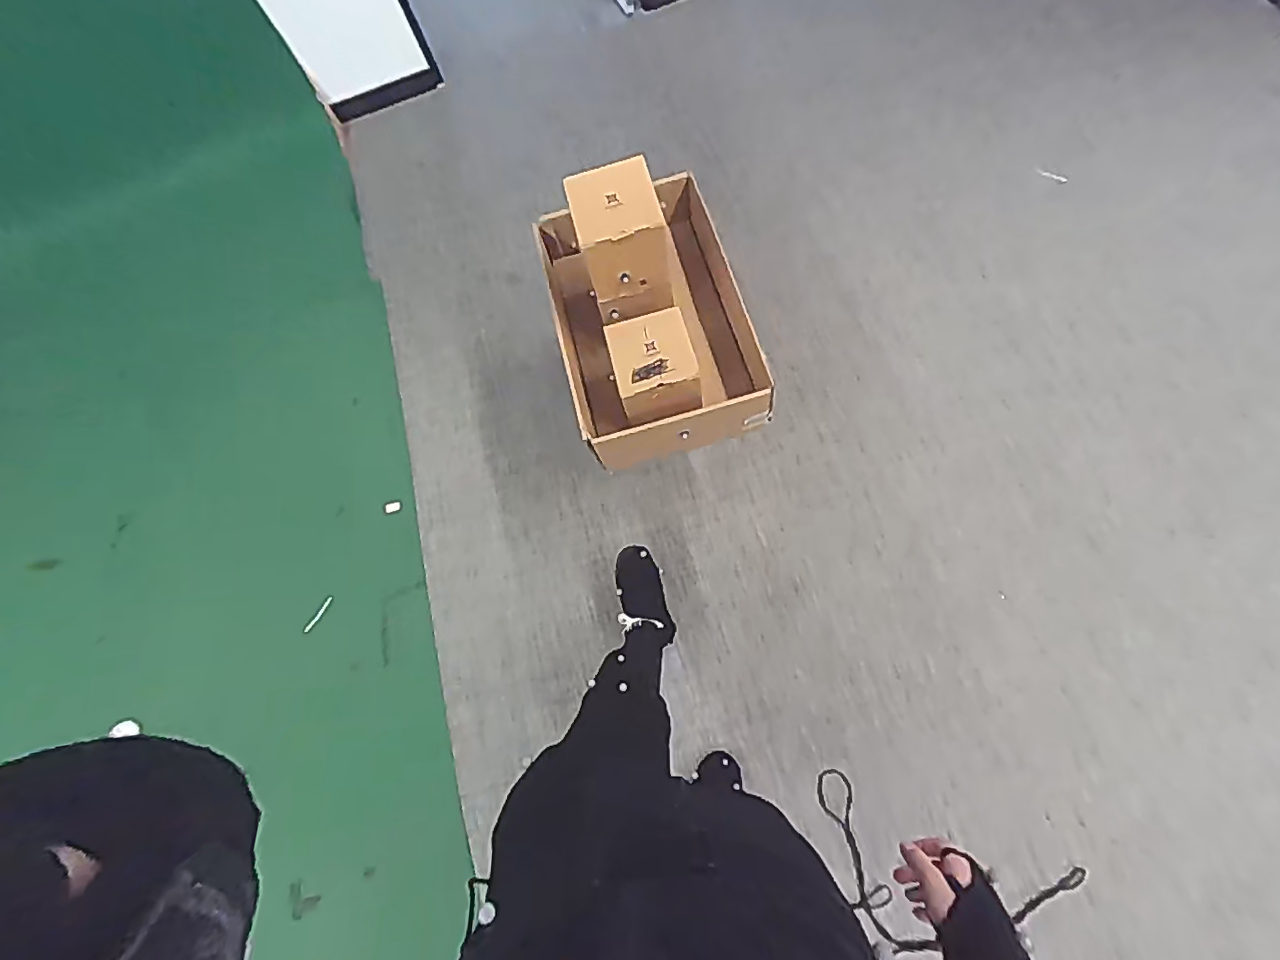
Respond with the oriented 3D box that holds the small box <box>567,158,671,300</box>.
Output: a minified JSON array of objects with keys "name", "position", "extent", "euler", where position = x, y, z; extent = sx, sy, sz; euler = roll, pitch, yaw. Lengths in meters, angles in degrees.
[{"name":"small box","position":[-0.038,-0.502,1.097],"extent":[0.168,0.176,0.179],"euler":[-15,71,2]}]

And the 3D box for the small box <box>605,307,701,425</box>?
[{"name":"small box","position":[0.033,-0.234,1.162],"extent":[0.168,0.176,0.179],"euler":[-14,68,2]}]
